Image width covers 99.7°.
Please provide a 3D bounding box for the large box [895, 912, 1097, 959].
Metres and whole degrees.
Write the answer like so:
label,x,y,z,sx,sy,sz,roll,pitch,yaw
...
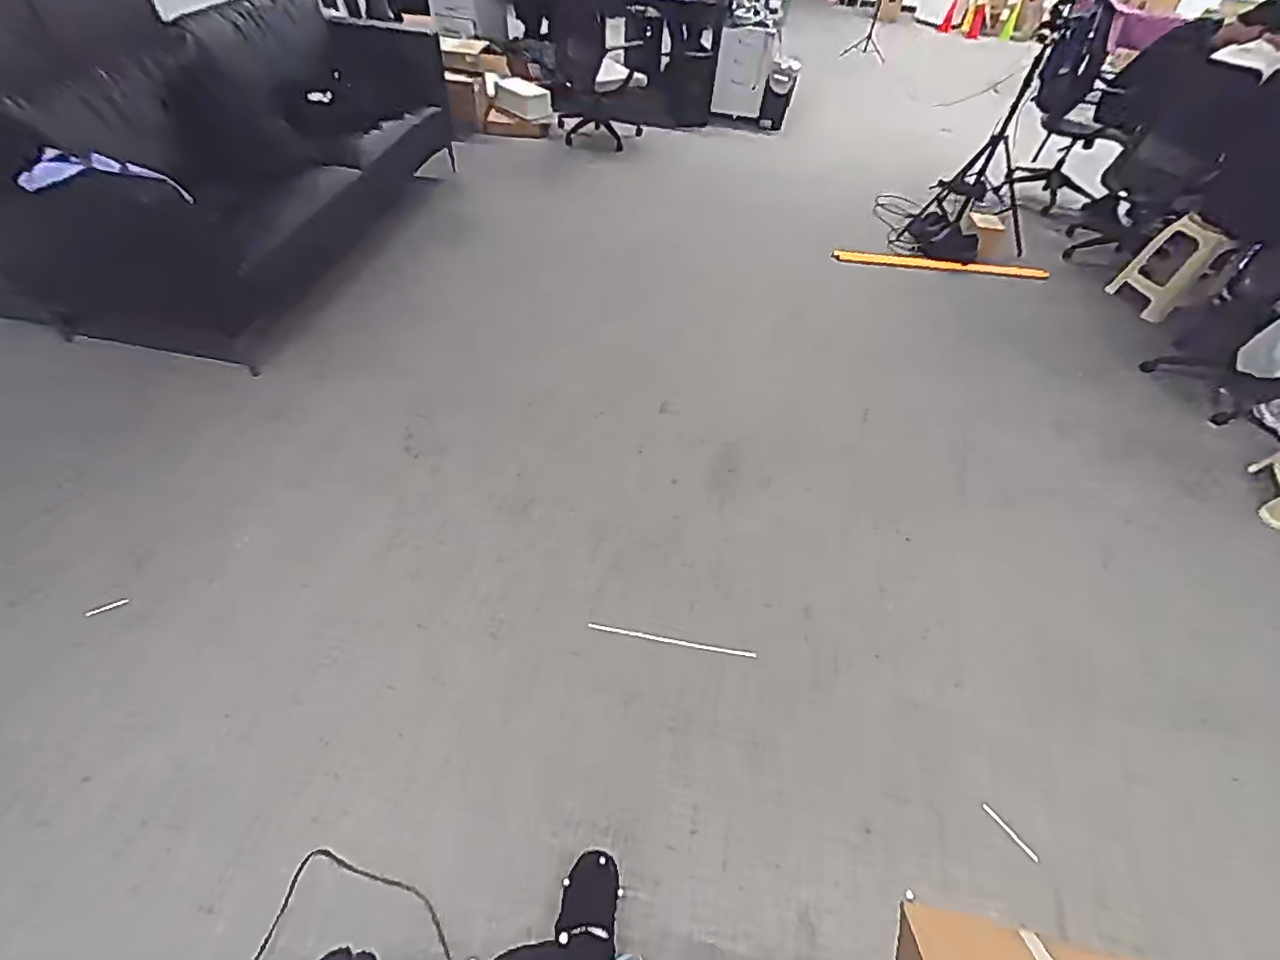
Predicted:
label,x,y,z,sx,sy,sz,roll,pitch,yaw
large box,0.463,0.775,0.547,0.320,0.408,0.320,8,88,11
